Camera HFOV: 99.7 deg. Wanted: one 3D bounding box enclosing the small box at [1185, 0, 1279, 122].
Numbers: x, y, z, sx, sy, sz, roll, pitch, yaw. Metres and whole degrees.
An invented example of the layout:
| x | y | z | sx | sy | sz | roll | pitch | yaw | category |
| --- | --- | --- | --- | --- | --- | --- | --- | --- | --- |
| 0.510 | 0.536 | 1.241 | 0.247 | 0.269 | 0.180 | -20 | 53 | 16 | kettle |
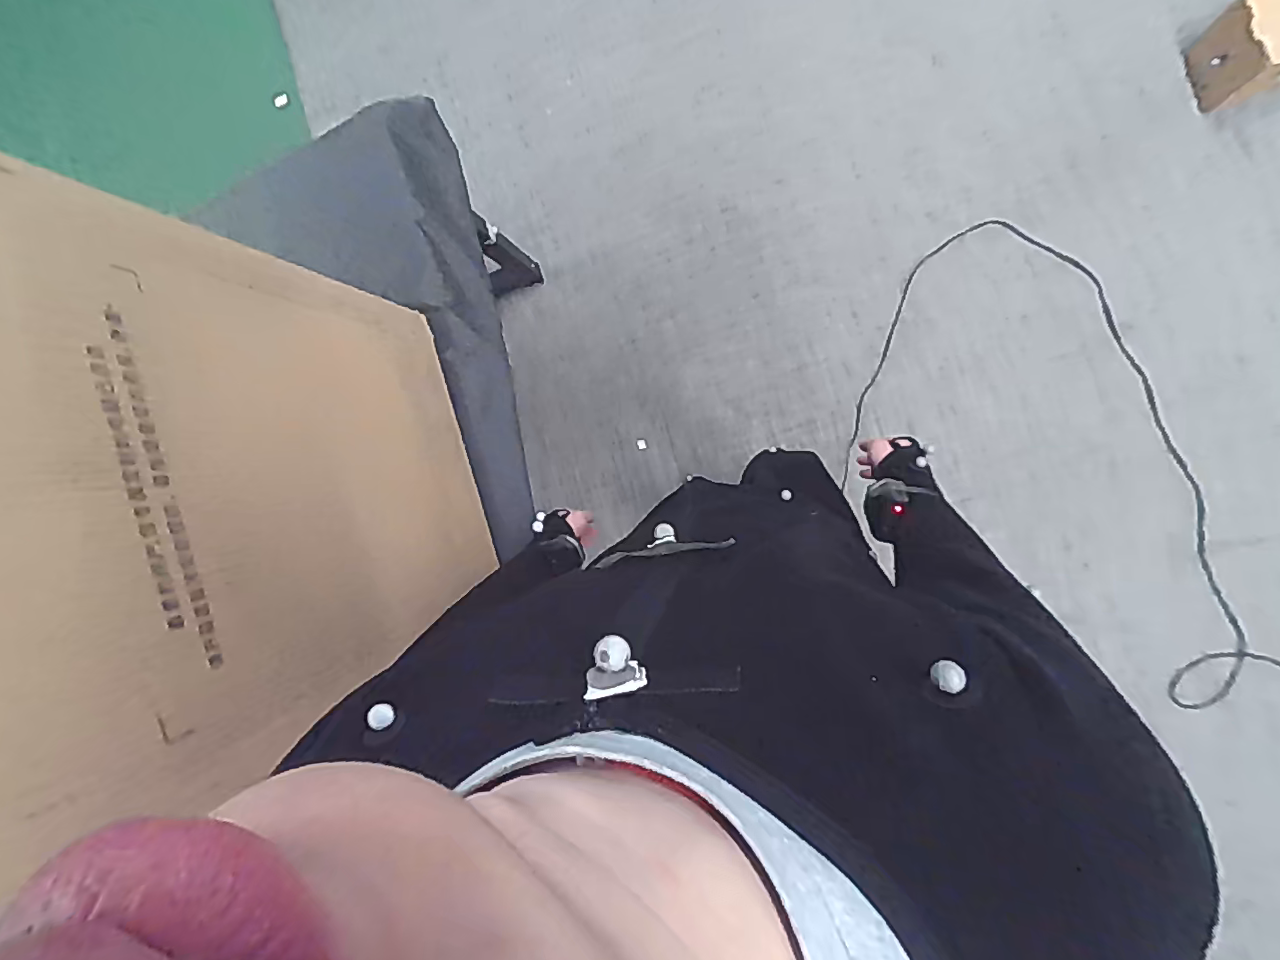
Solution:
| x | y | z | sx | sy | sz | roll | pitch | yaw | category |
| --- | --- | --- | --- | --- | --- | --- | --- | --- | --- |
| 1.340 | -0.922 | 1.163 | 0.179 | 0.176 | 0.168 | -18 | 87 | 14 | small box |

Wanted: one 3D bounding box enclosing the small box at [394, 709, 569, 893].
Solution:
| x | y | z | sx | sy | sz | roll | pitch | yaw | category |
| --- | --- | --- | --- | --- | --- | --- | --- | --- | --- |
| -0.224 | 0.470 | 0.815 | 0.179 | 0.176 | 0.168 | -20 | 85 | 15 | small box |
